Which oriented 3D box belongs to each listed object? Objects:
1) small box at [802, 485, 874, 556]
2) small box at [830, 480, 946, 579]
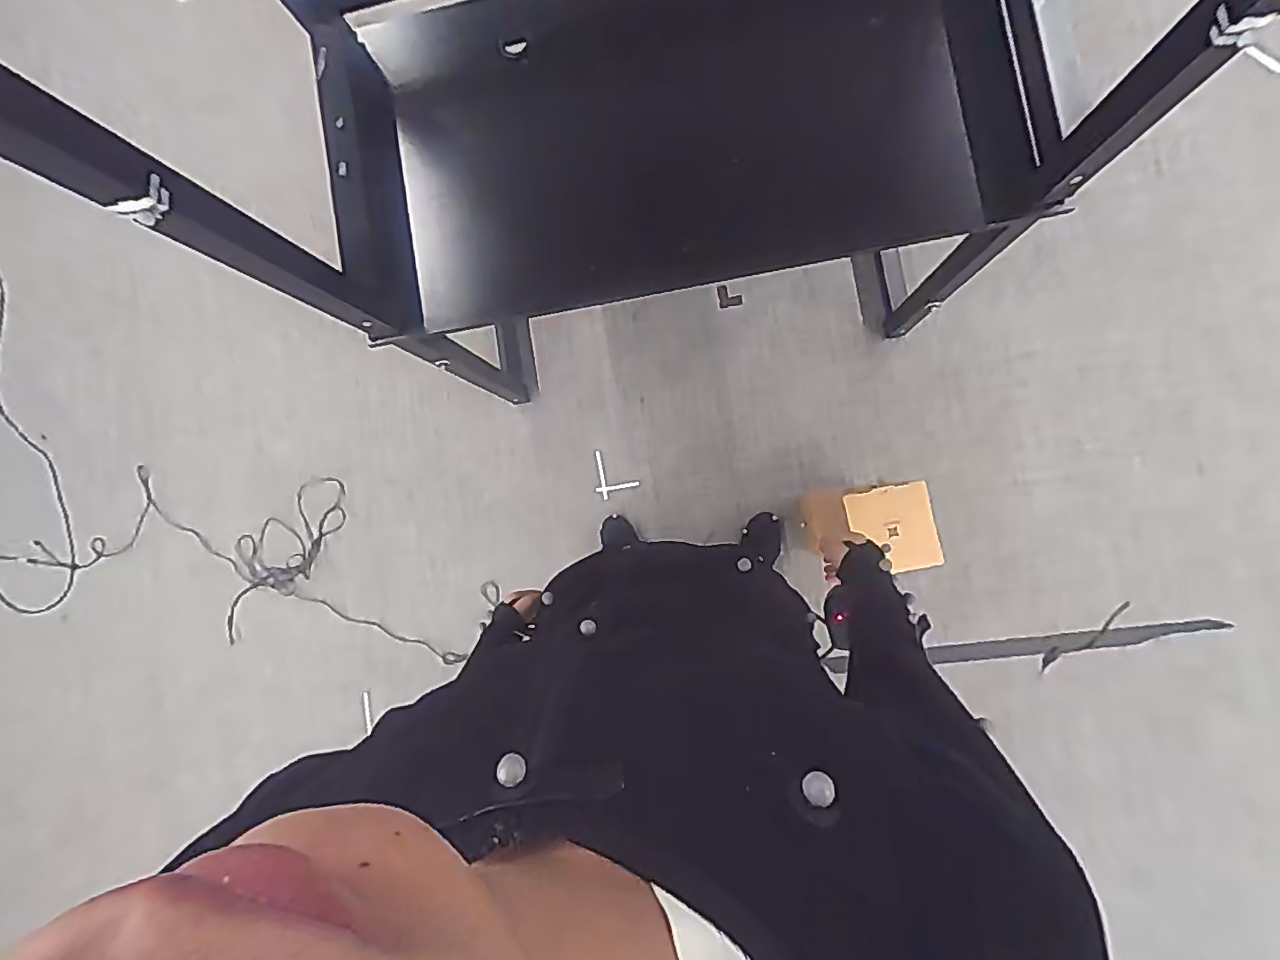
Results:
[{"bbox_3d":[0.561,0.107,1.490,0.179,0.176,0.168,-11,86,7],"label":"small box"},{"bbox_3d":[0.523,0.101,1.165,0.168,0.176,0.179,-13,87,7],"label":"small box"}]
